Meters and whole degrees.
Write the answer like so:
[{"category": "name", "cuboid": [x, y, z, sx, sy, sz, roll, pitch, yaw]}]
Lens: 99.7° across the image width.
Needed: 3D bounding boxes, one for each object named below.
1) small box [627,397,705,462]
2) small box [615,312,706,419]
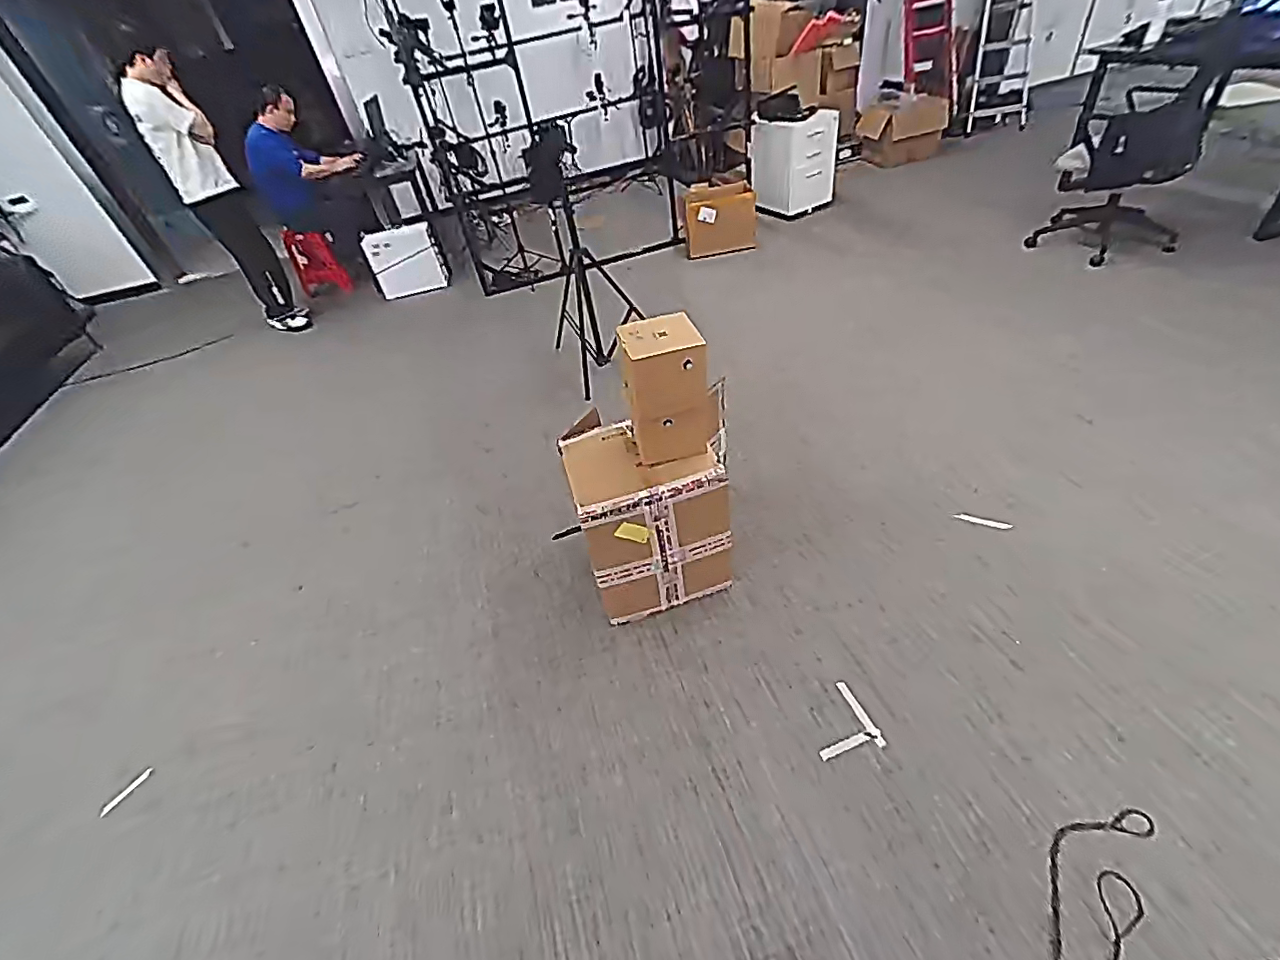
[{"category": "small box", "cuboid": [0.067, -0.168, 1.413, 0.179, 0.176, 0.168, -12, 43, -4]}, {"category": "small box", "cuboid": [0.050, -0.269, 1.282, 0.179, 0.176, 0.168, -15, 43, -6]}]
